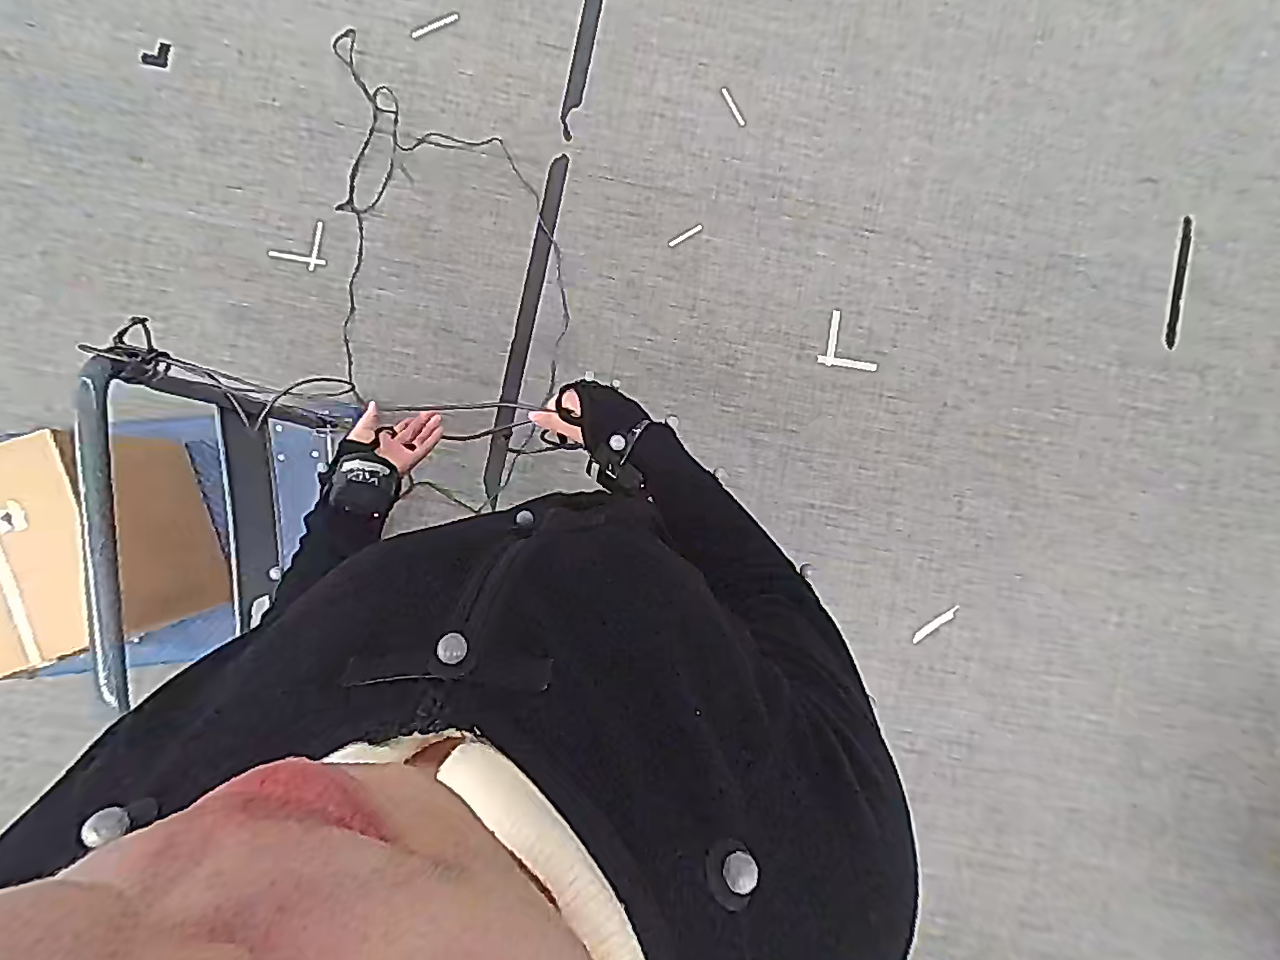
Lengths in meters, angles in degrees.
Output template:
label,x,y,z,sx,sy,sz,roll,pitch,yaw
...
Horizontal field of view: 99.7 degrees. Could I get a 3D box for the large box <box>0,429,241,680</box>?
label,x,y,z,sx,sy,sz,roll,pitch,yaw
large box,-1.151,0.143,1.139,0.320,0.320,0.408,-20,90,-2
